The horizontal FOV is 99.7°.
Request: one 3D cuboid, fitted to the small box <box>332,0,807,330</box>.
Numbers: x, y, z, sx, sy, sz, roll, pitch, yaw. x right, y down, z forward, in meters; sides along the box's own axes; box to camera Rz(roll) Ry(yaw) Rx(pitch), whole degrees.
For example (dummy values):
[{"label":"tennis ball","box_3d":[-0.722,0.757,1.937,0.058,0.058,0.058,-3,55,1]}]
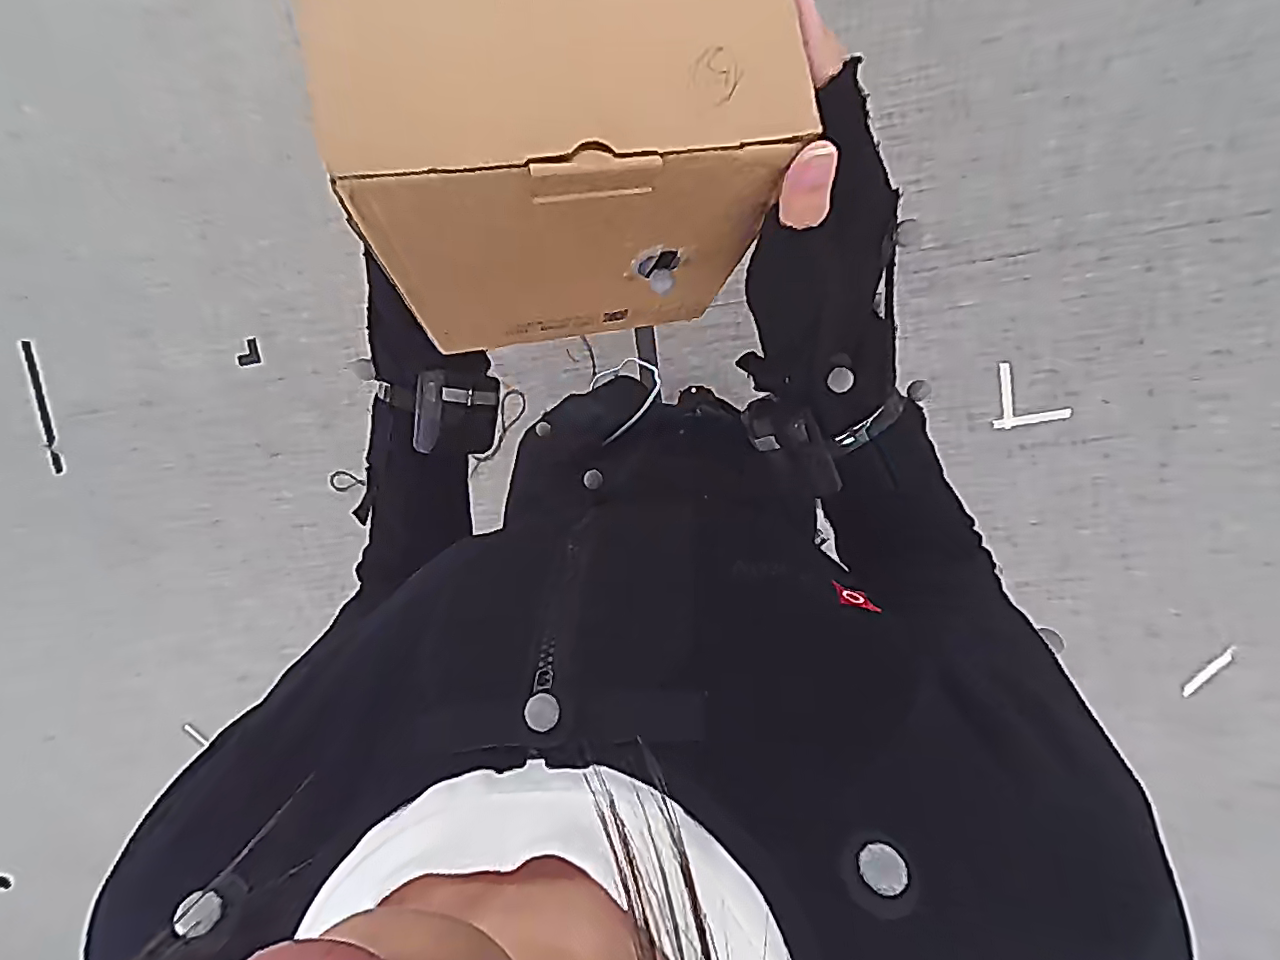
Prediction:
[{"label":"small box","box_3d":[-0.040,-0.189,0.276,0.168,0.176,0.179,-11,87,-9]}]
